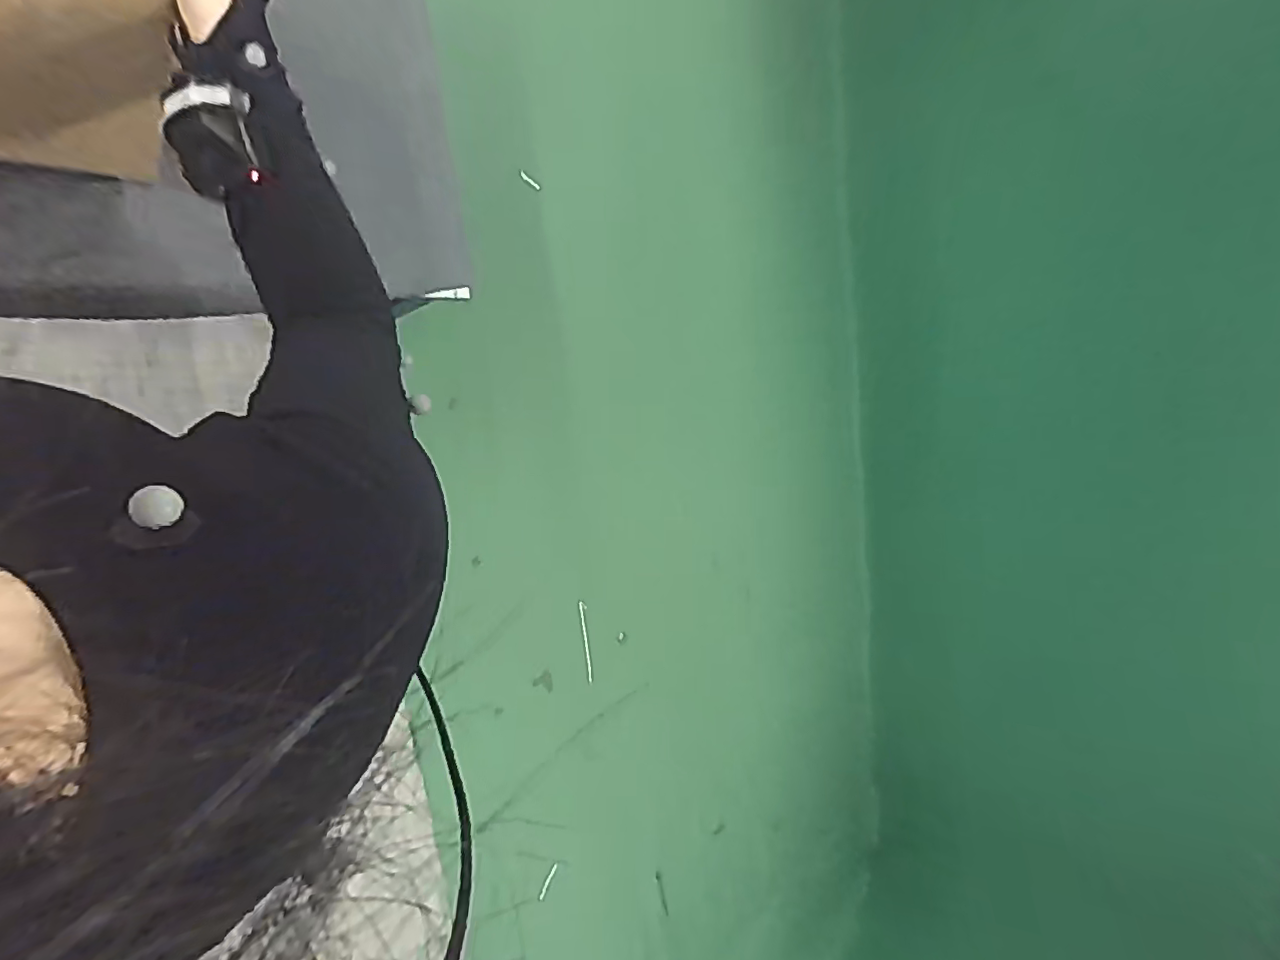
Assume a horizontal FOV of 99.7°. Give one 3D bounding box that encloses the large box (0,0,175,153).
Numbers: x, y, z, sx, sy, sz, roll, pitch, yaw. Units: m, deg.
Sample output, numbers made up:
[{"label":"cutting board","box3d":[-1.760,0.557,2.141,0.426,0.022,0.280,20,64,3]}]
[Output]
[{"label":"large box","box3d":[-0.566,-0.444,0.302,0.408,0.320,0.320,-17,100,-44]}]
